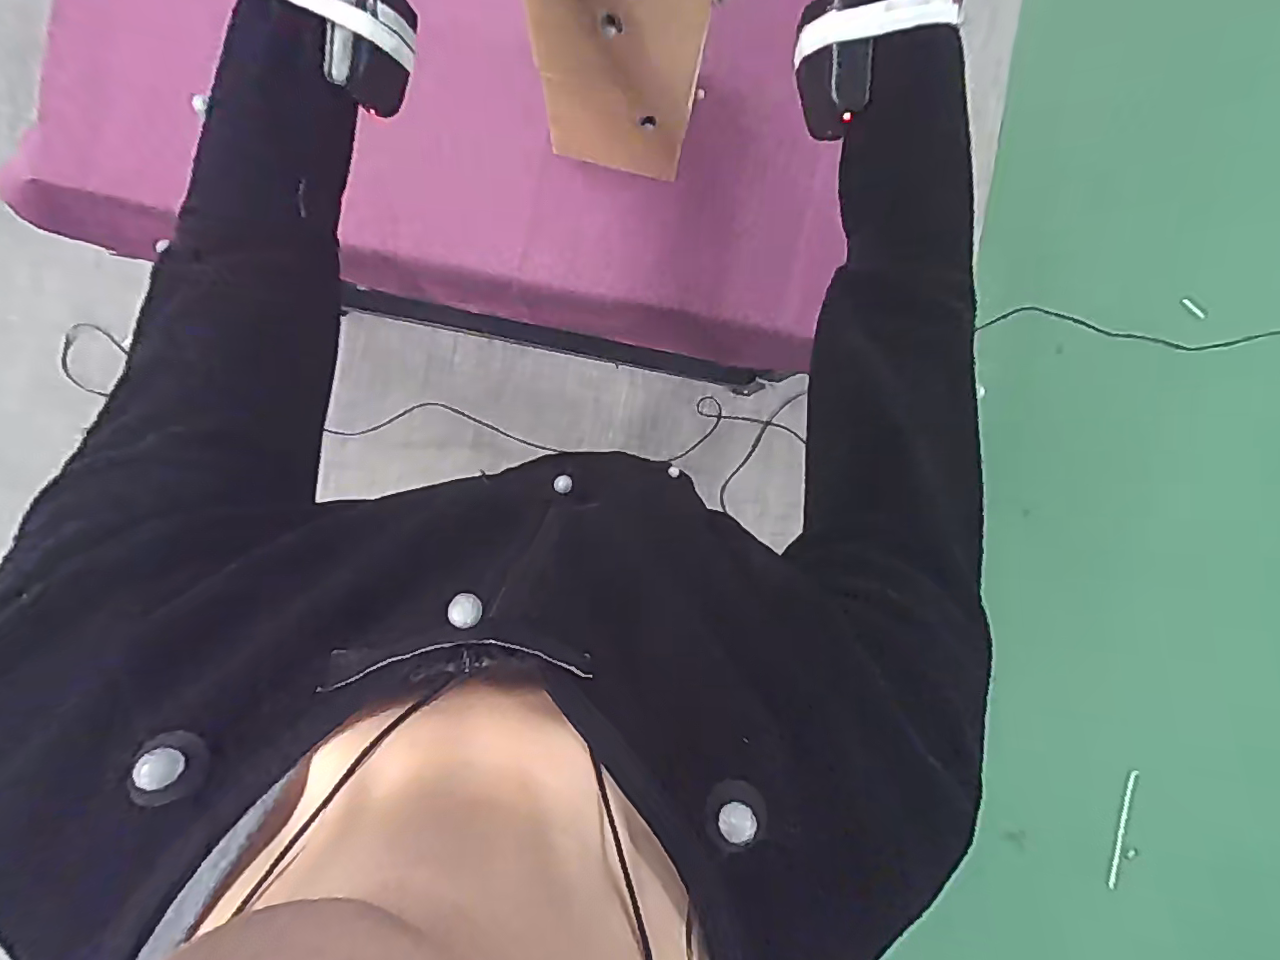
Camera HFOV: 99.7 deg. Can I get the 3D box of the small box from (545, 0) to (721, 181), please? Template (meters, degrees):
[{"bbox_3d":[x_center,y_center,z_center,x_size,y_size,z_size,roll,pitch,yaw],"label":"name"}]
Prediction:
[{"bbox_3d":[-0.011,-0.514,0.689,0.179,0.176,0.168,12,91,-4],"label":"small box"}]
